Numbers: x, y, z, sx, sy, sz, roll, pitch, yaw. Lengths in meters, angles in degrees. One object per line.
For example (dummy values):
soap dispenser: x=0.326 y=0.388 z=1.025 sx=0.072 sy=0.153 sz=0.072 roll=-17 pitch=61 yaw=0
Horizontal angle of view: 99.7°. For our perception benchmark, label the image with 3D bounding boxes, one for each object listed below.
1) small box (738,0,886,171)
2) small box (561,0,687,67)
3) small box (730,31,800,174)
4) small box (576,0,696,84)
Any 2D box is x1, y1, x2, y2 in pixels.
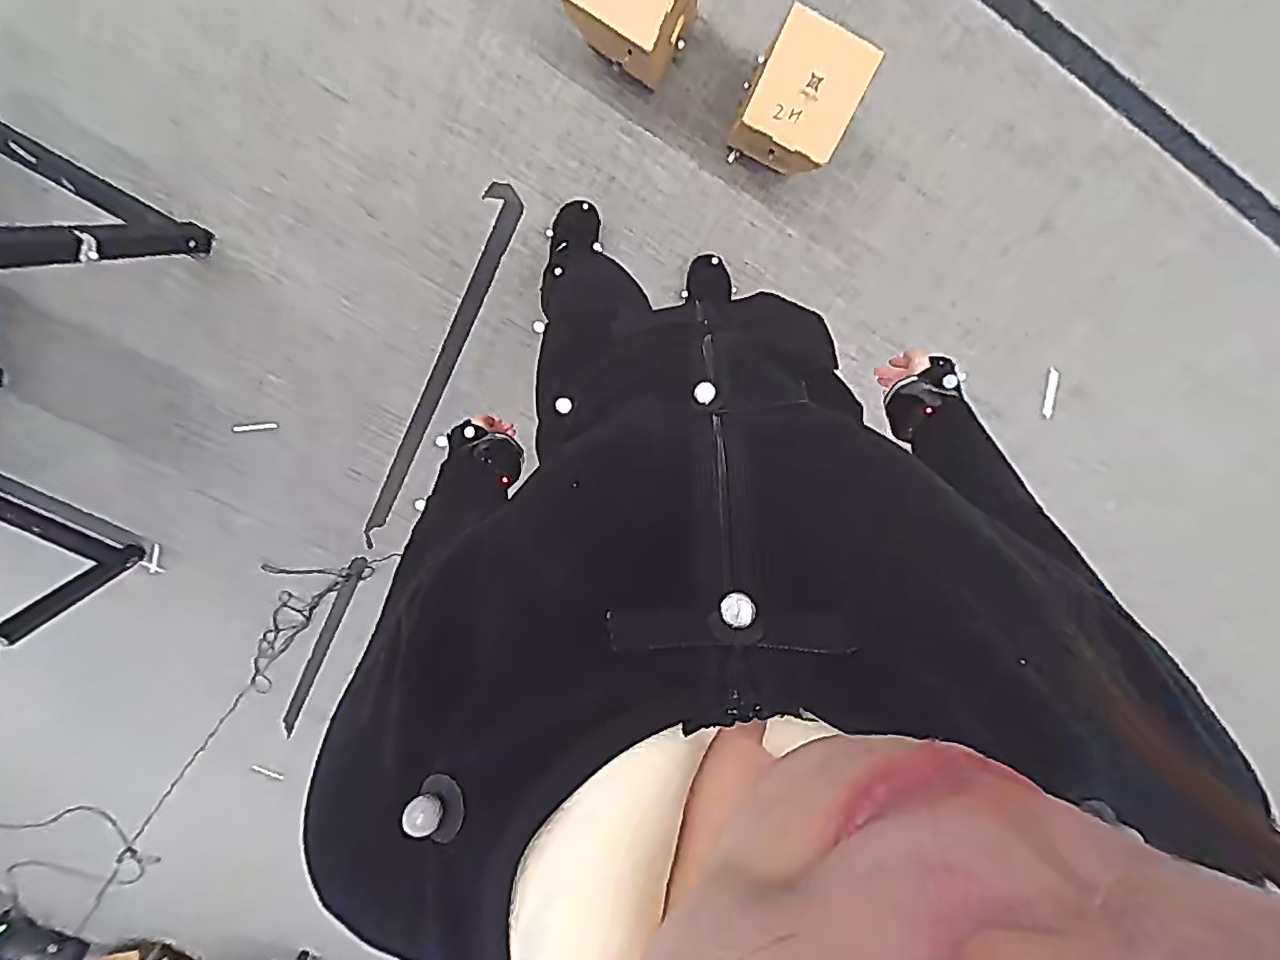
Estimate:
small box: x=0.284 y=-0.668 z=0.942 sx=0.168 sy=0.176 sz=0.179 roll=24 pitch=116 yaw=-8
small box: x=-0.014 y=-0.819 z=0.885 sx=0.179 sy=0.176 sz=0.168 roll=27 pitch=115 yaw=-9
small box: x=0.292 y=-0.742 z=1.089 sx=0.168 sy=0.176 sz=0.179 roll=22 pitch=115 yaw=-8
small box: x=-0.002 y=-0.894 z=1.030 sx=0.179 sy=0.176 sz=0.168 roll=28 pitch=115 yaw=-11
